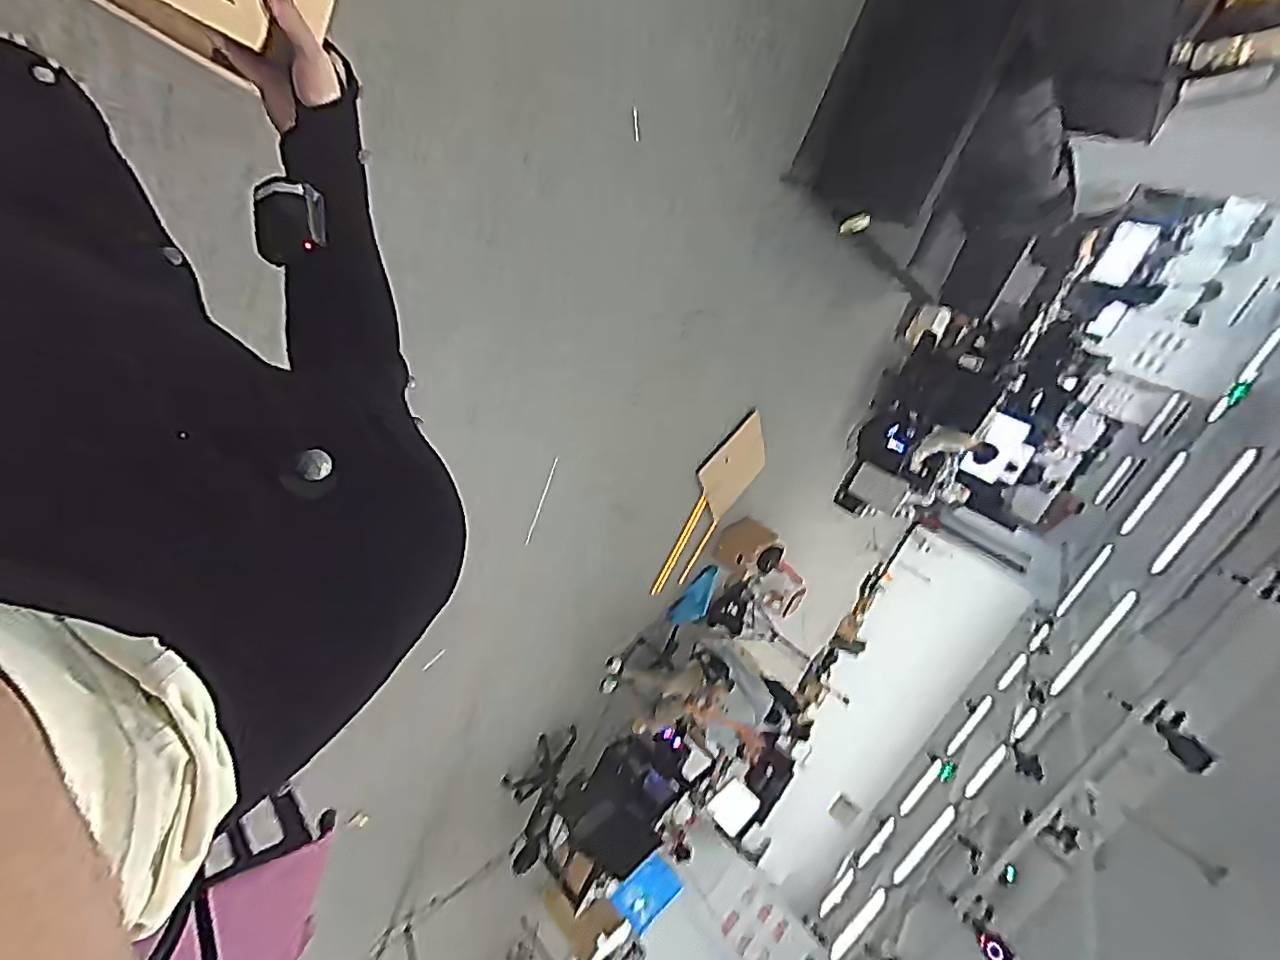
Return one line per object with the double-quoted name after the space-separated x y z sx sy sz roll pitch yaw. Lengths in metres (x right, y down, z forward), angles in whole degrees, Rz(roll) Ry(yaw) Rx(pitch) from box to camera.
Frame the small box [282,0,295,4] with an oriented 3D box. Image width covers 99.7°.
-0.497 -0.720 0.642 0.168 0.176 0.179 11 109 -56 "small box"
